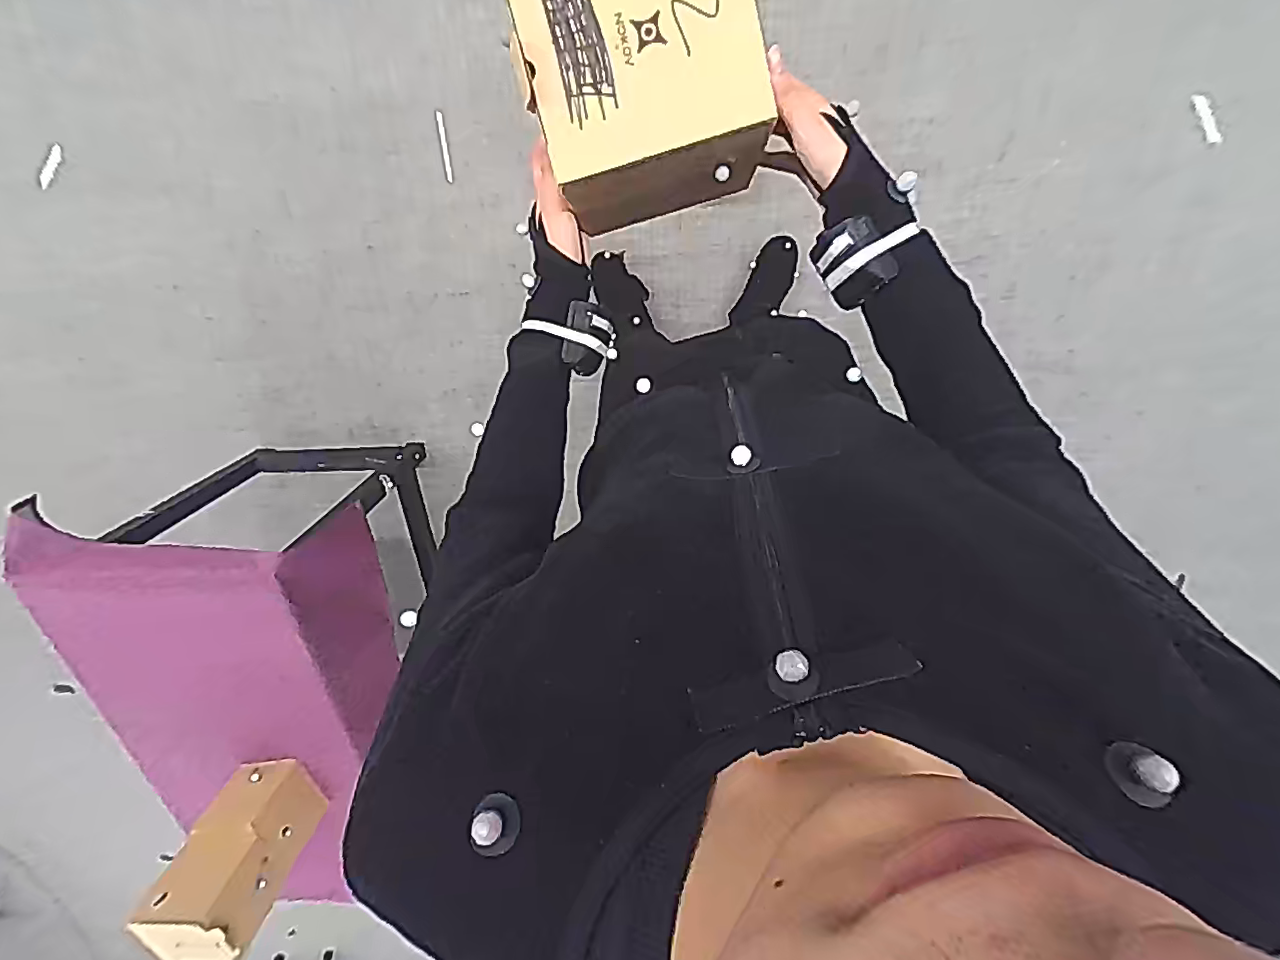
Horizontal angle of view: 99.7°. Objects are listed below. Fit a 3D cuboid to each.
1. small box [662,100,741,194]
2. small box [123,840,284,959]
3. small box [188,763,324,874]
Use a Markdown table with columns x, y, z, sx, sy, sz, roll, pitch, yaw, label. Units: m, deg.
| x | y | z | sx | sy | sz | roll | pitch | yaw | label |
| --- | --- | --- | --- | --- | --- | --- | --- | --- | --- |
| 0.139 | -0.773 | 1.269 | 0.168 | 0.176 | 0.179 | 2 | 116 | 2 | small box |
| -0.924 | 0.908 | 1.165 | 0.179 | 0.176 | 0.168 | -6 | 116 | 7 | small box |
| -0.910 | 0.816 | 1.302 | 0.168 | 0.176 | 0.179 | -11 | 114 | 9 | small box |
